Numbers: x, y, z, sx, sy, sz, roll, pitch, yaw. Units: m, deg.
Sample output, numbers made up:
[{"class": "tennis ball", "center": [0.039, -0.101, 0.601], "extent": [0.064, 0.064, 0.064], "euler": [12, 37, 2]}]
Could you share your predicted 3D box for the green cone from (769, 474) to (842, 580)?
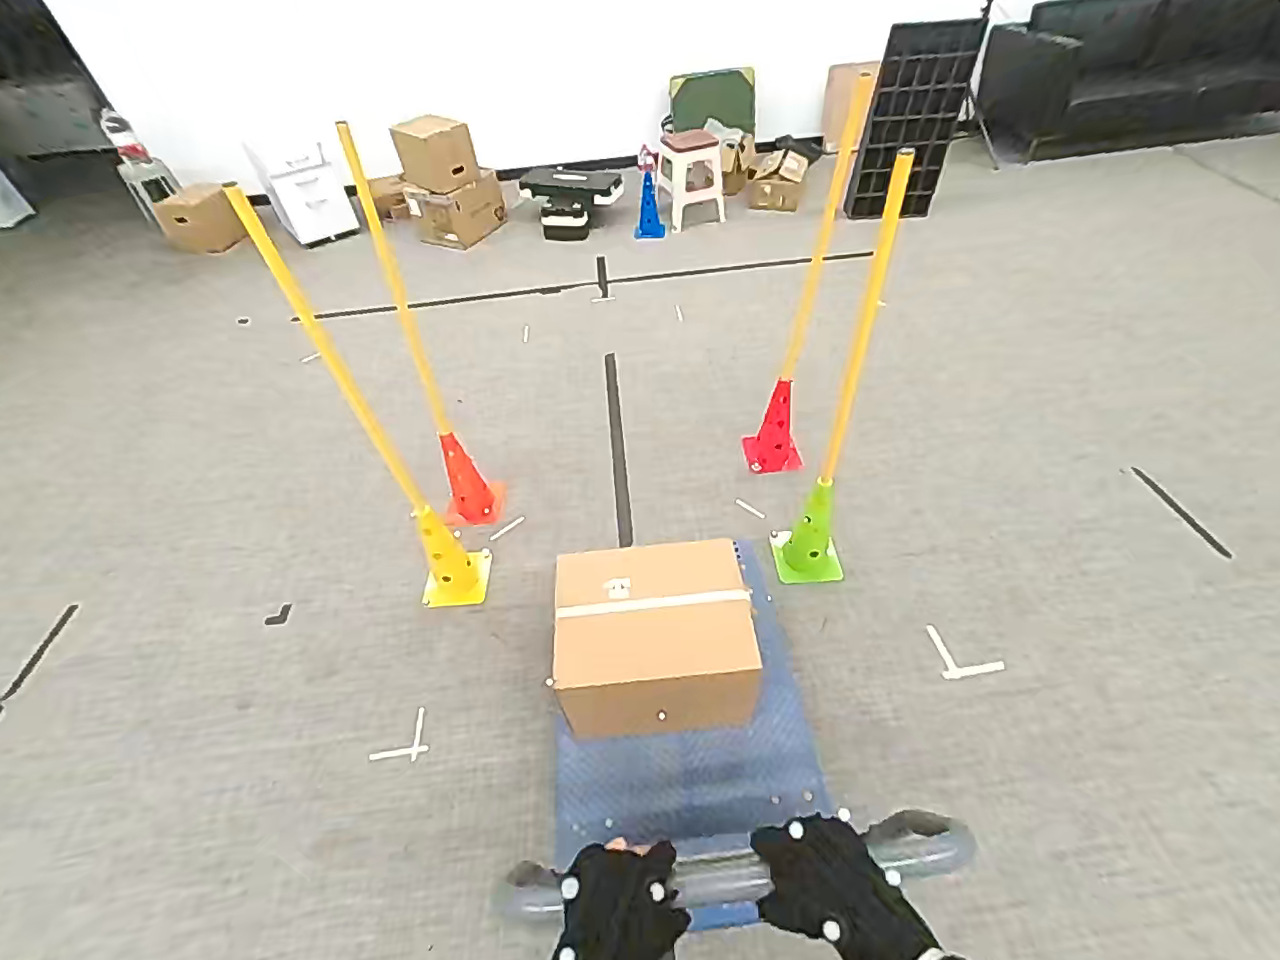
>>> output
[{"class": "green cone", "center": [0.527, 0.122, 1.634], "extent": [0.202, 0.368, 0.200], "euler": [-4, 47, 0]}]

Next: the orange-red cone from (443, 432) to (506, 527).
[{"class": "orange-red cone", "center": [-0.616, -0.024, 1.883], "extent": [0.198, 0.360, 0.199], "euler": [-1, 45, 3]}]

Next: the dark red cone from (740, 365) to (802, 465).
[{"class": "dark red cone", "center": [0.495, -0.241, 1.954], "extent": [0.201, 0.394, 0.202], "euler": [-6, 47, -3]}]

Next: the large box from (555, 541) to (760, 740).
[{"class": "large box", "center": [0.035, 0.374, 1.245], "extent": [0.408, 0.320, 0.320], "euler": [-7, 47, 0]}]
